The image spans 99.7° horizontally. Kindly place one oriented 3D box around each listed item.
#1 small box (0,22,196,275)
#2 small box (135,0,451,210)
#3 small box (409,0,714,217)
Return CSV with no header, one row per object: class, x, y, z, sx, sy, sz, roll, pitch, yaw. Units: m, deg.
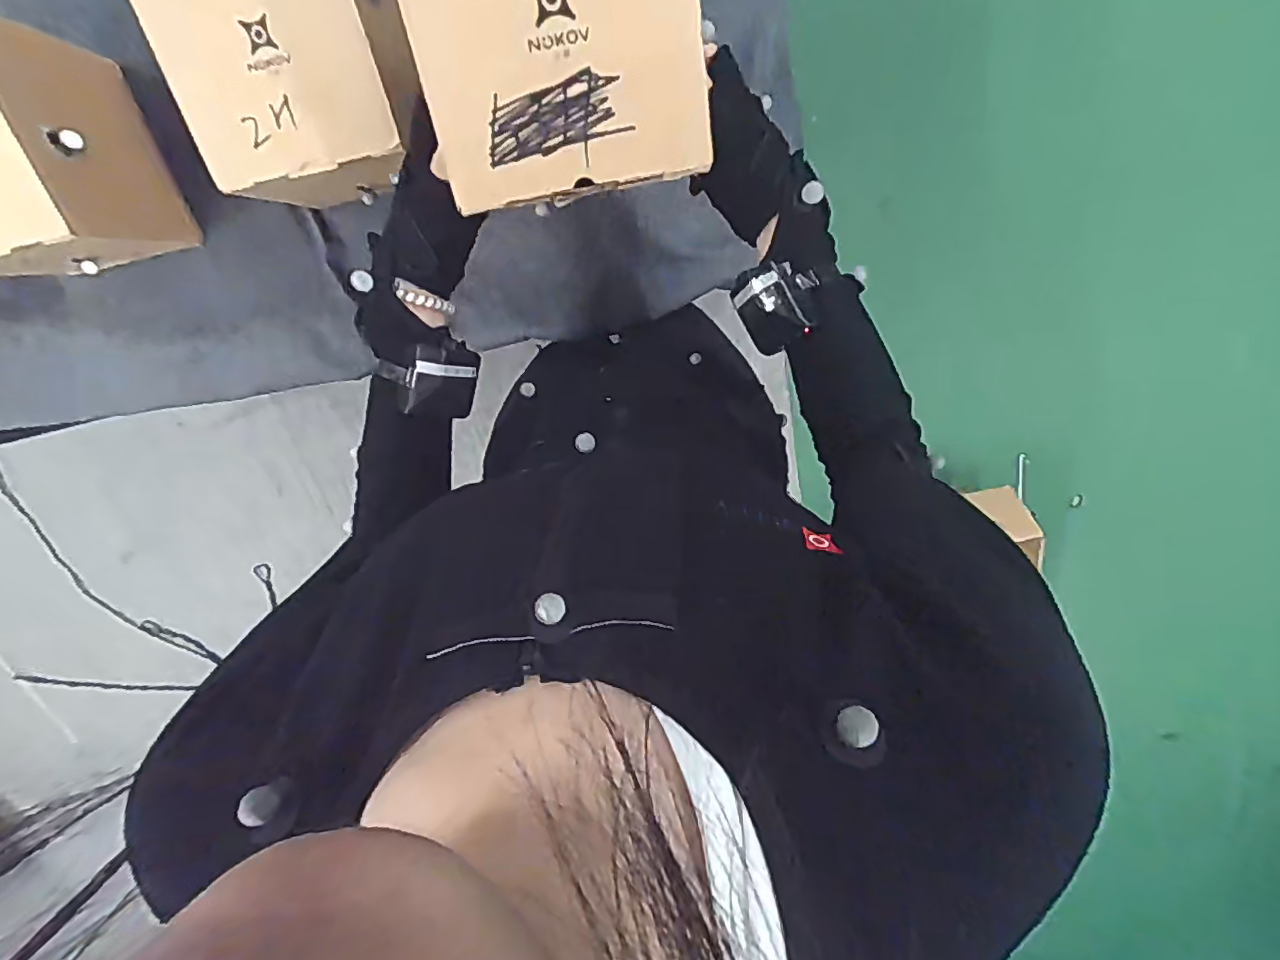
small box,-0.586,-0.297,0.507,0.168,0.176,0.179,-13,114,1
small box,-0.296,-0.364,0.497,0.168,0.176,0.179,-12,113,1
small box,-0.046,-0.295,0.374,0.168,0.176,0.179,-9,119,2
